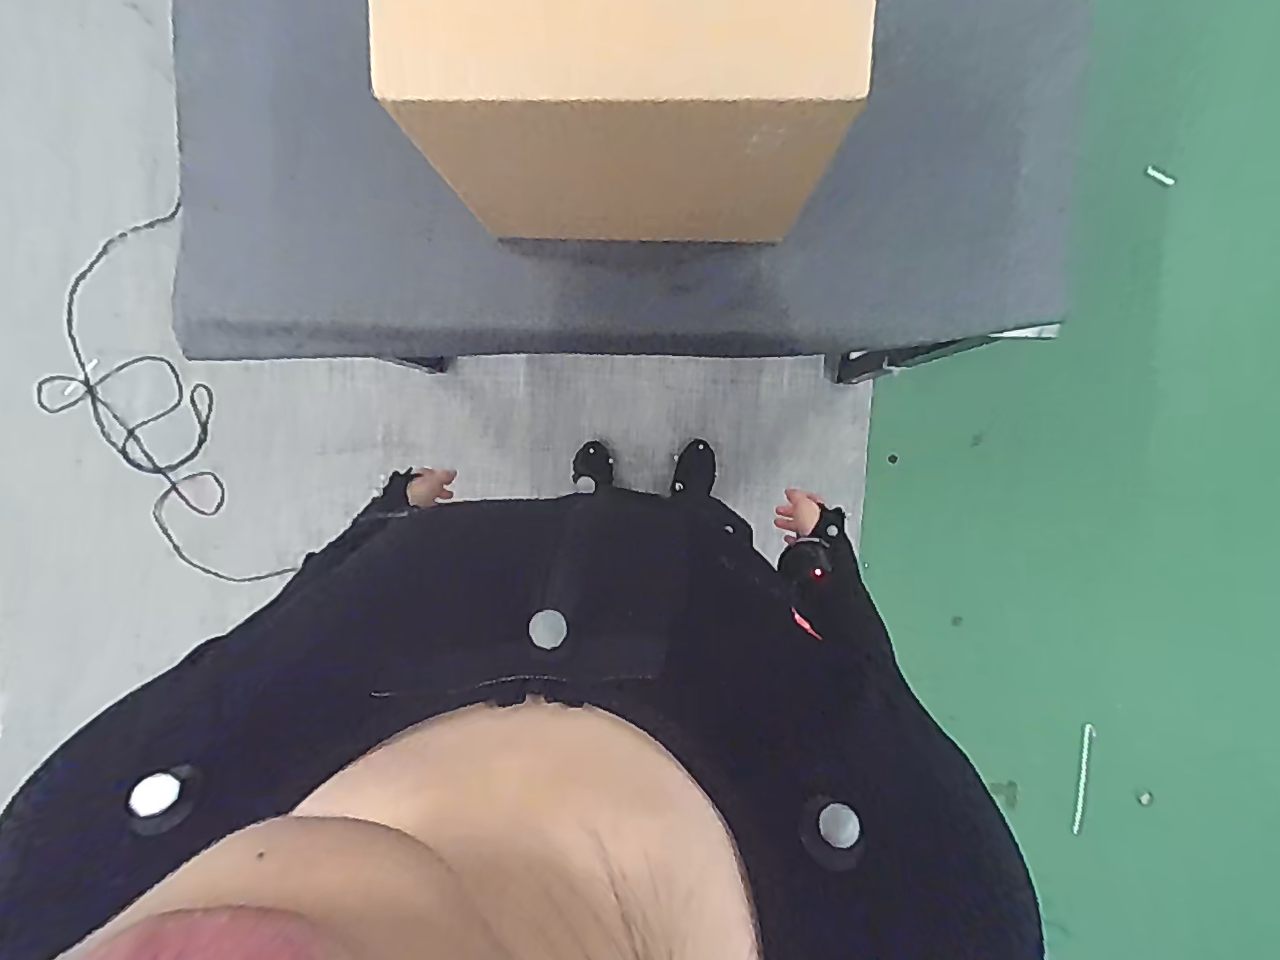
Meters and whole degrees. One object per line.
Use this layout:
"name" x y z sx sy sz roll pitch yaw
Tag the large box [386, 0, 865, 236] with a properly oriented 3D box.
"large box" -0.010 -0.481 0.589 0.408 0.320 0.320 1 95 2
